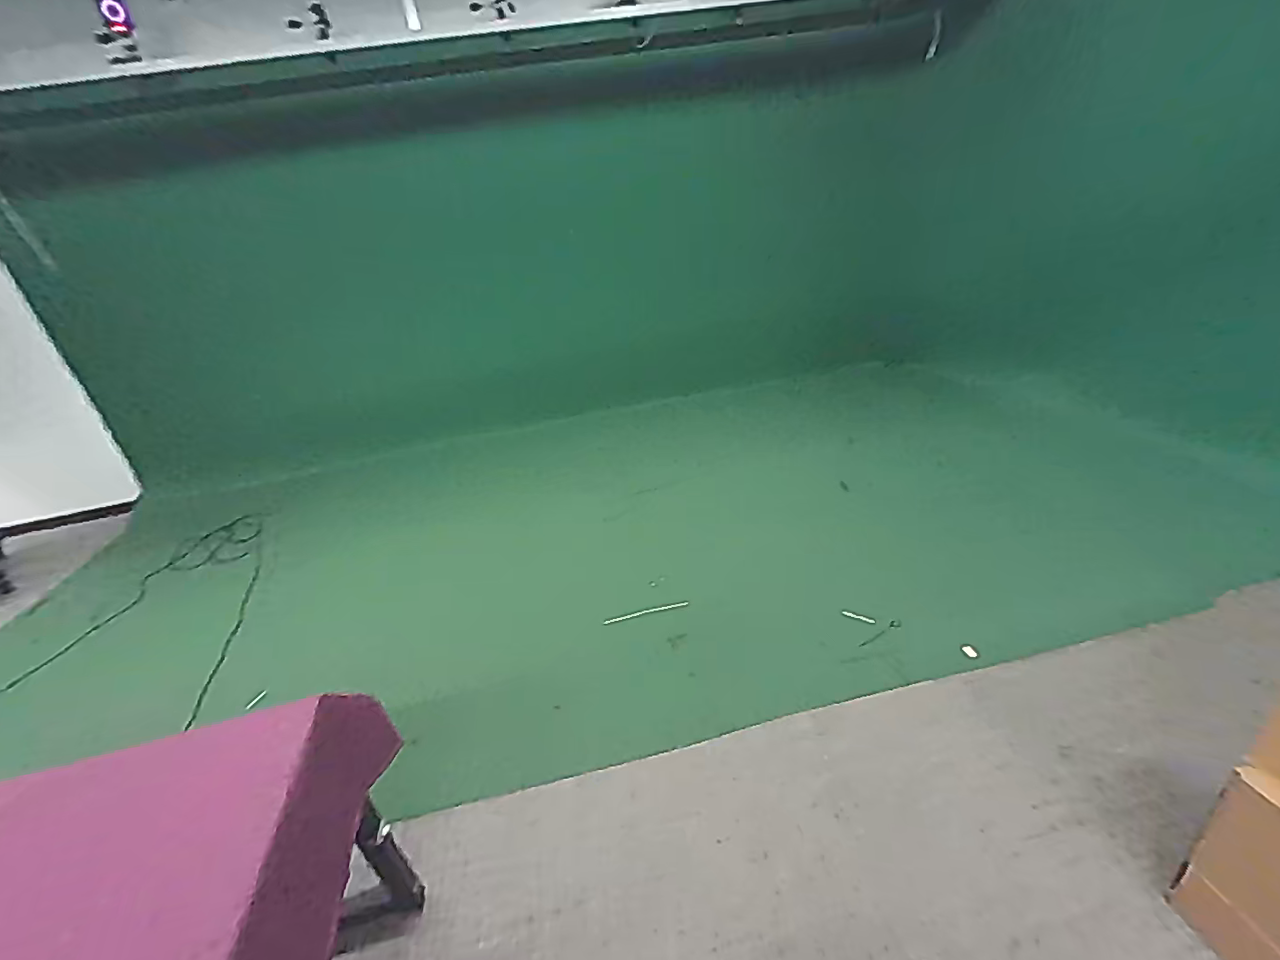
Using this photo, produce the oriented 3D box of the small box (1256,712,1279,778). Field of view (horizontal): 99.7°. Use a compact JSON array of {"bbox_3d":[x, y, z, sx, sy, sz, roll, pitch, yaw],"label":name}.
[{"bbox_3d":[1.231,0.464,0.918,0.179,0.176,0.168,-13,28,-5],"label":"small box"}]
